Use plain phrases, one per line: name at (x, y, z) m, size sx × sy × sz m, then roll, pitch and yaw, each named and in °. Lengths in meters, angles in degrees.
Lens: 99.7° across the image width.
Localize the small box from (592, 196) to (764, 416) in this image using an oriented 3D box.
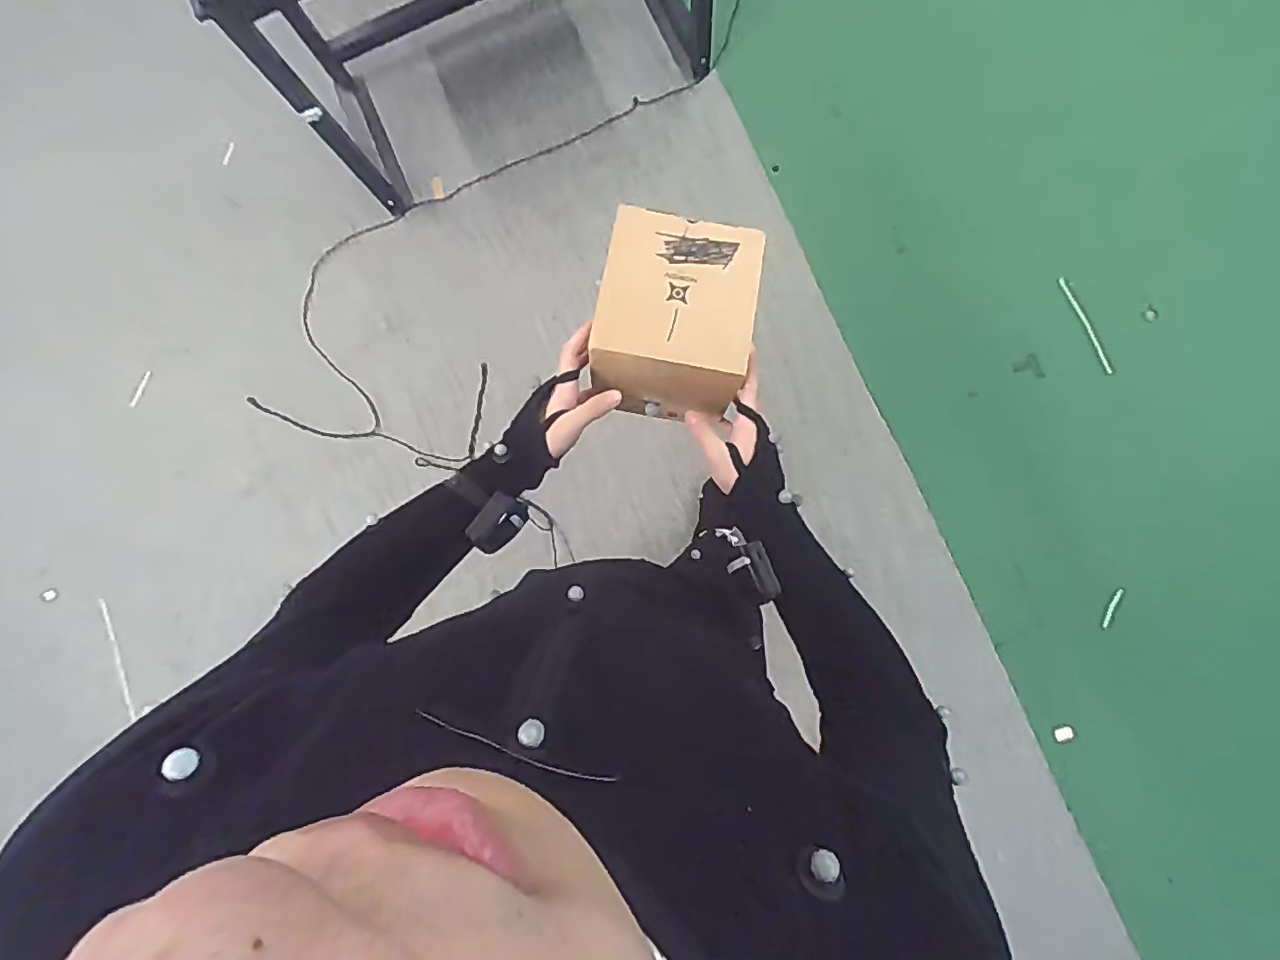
small box at (0.038, -0.197, 0.651) m, size 0.168 × 0.176 × 0.179 m, roll 10°, pitch 77°, yaw -1°
